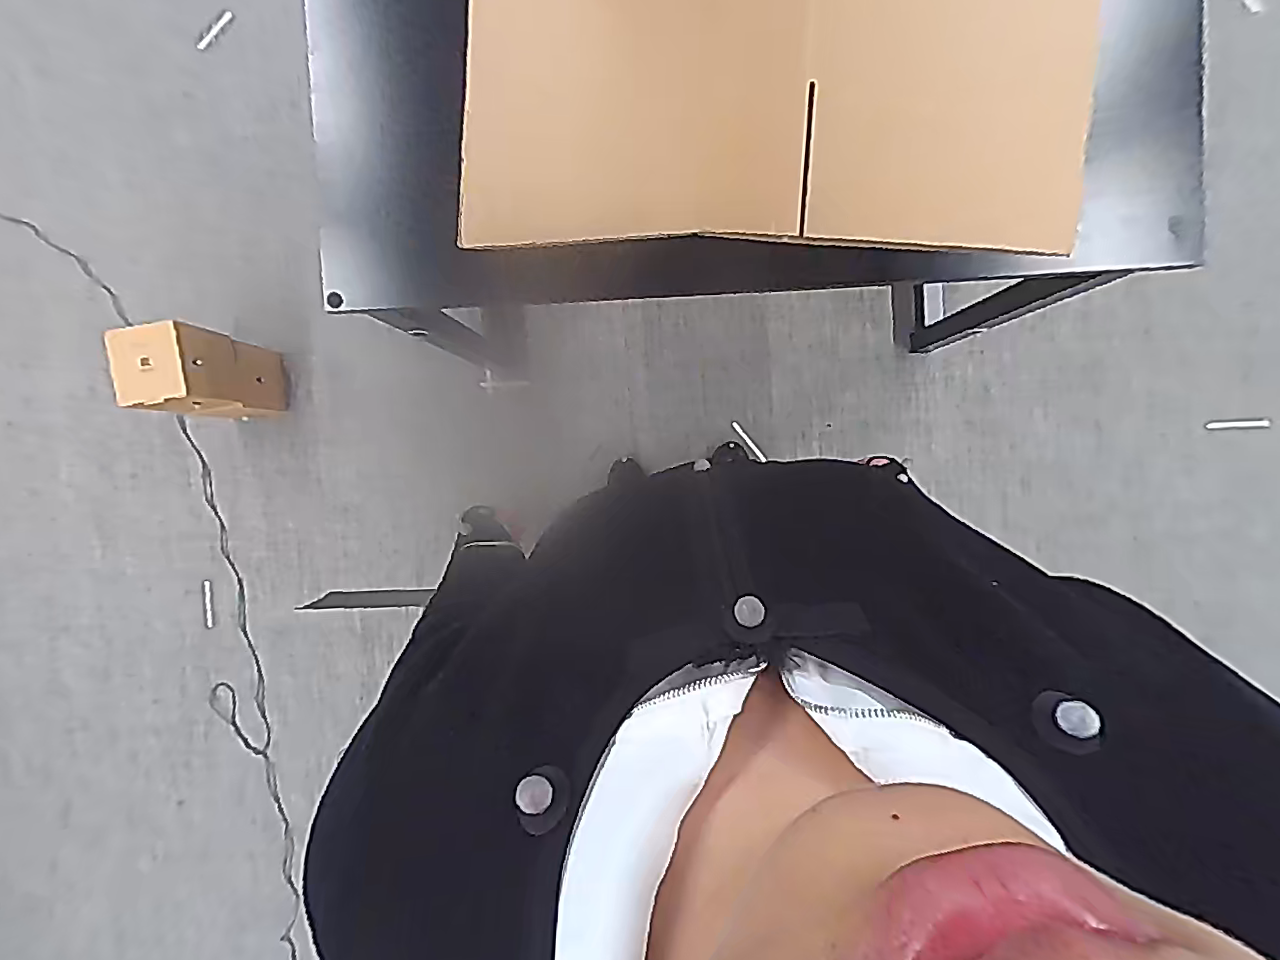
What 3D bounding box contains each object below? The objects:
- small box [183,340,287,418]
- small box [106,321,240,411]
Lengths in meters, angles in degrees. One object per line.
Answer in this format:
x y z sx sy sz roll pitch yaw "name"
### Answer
-1.094 -0.266 1.456 0.168 0.176 0.179 -6 93 3 "small box"
-1.103 -0.264 1.293 0.168 0.176 0.179 -9 91 2 "small box"
